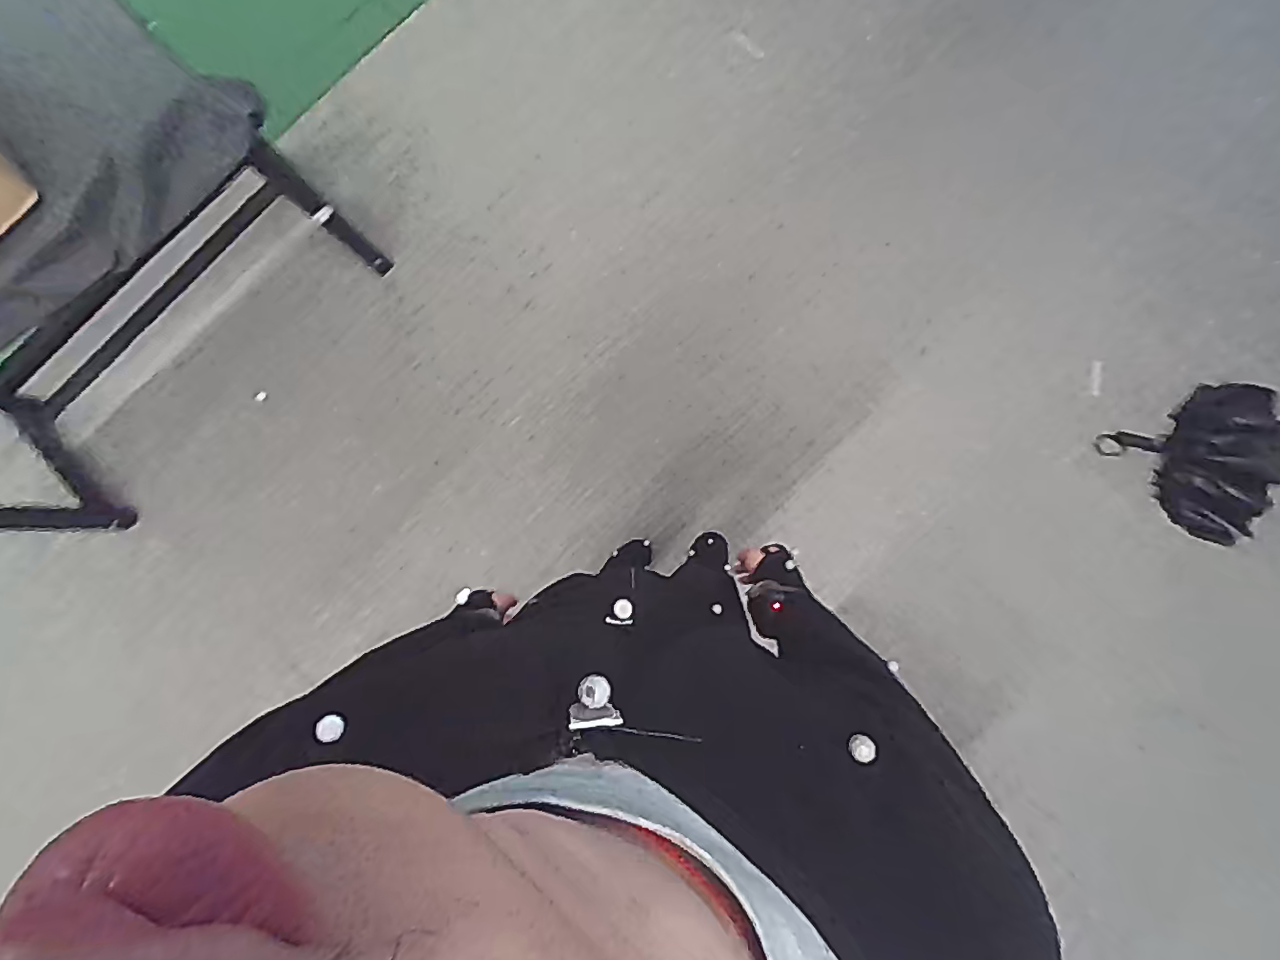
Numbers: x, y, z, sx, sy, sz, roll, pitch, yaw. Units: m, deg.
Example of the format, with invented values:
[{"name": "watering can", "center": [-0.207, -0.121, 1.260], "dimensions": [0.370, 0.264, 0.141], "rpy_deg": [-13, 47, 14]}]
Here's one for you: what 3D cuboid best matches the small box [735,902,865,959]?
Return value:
[{"name": "small box", "center": [0.224, 0.685, 0.662], "dimensions": [0.179, 0.176, 0.168], "rpy_deg": [43, 90, 7]}]
